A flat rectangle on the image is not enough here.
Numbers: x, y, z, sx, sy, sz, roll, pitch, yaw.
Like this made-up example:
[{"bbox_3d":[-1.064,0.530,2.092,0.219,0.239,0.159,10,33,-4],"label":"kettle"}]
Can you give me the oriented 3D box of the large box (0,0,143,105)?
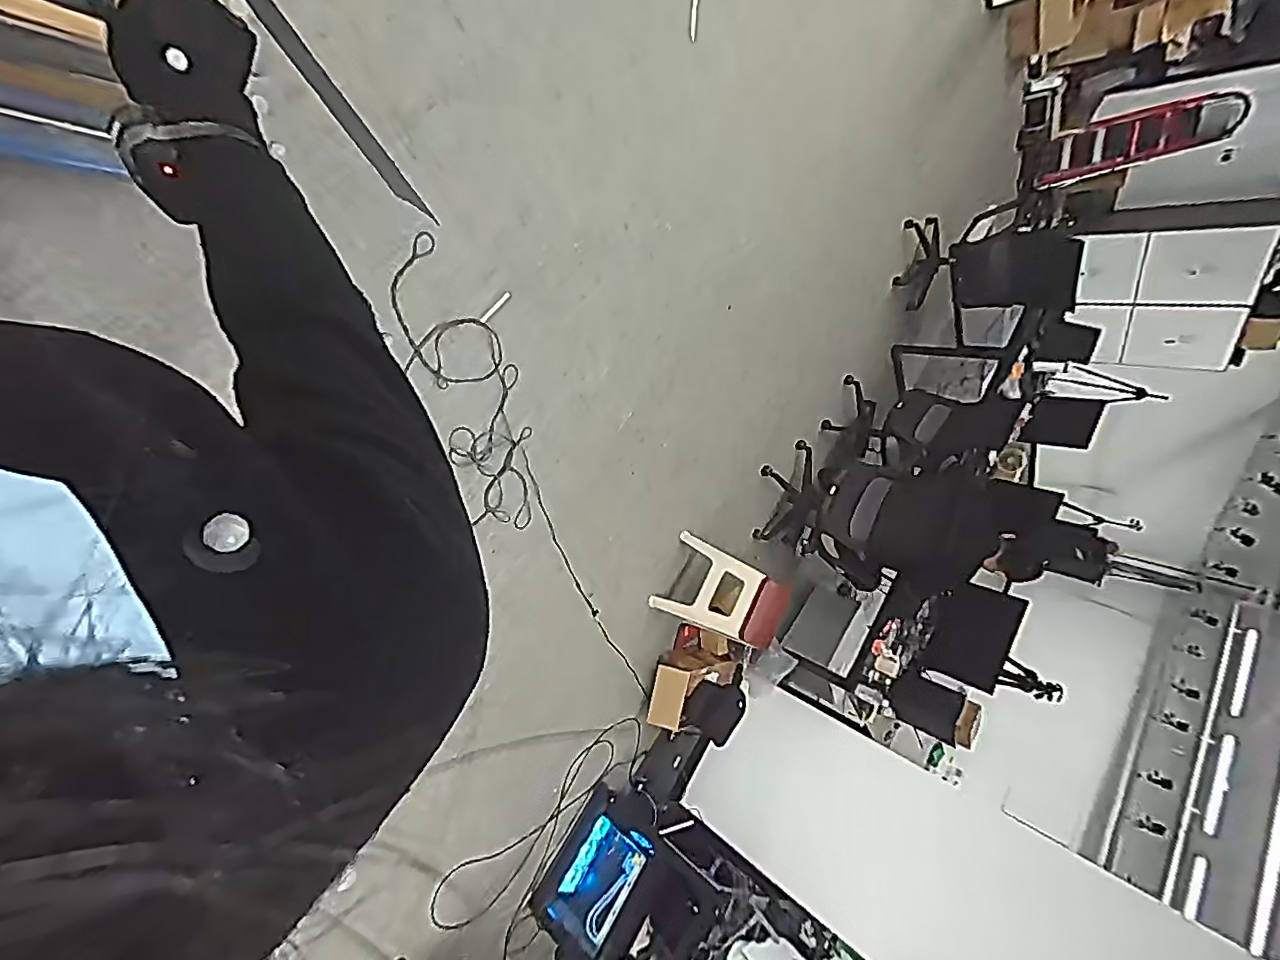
[{"bbox_3d":[-0.864,-0.692,0.602,0.408,0.320,0.320,-10,111,-47],"label":"large box"}]
